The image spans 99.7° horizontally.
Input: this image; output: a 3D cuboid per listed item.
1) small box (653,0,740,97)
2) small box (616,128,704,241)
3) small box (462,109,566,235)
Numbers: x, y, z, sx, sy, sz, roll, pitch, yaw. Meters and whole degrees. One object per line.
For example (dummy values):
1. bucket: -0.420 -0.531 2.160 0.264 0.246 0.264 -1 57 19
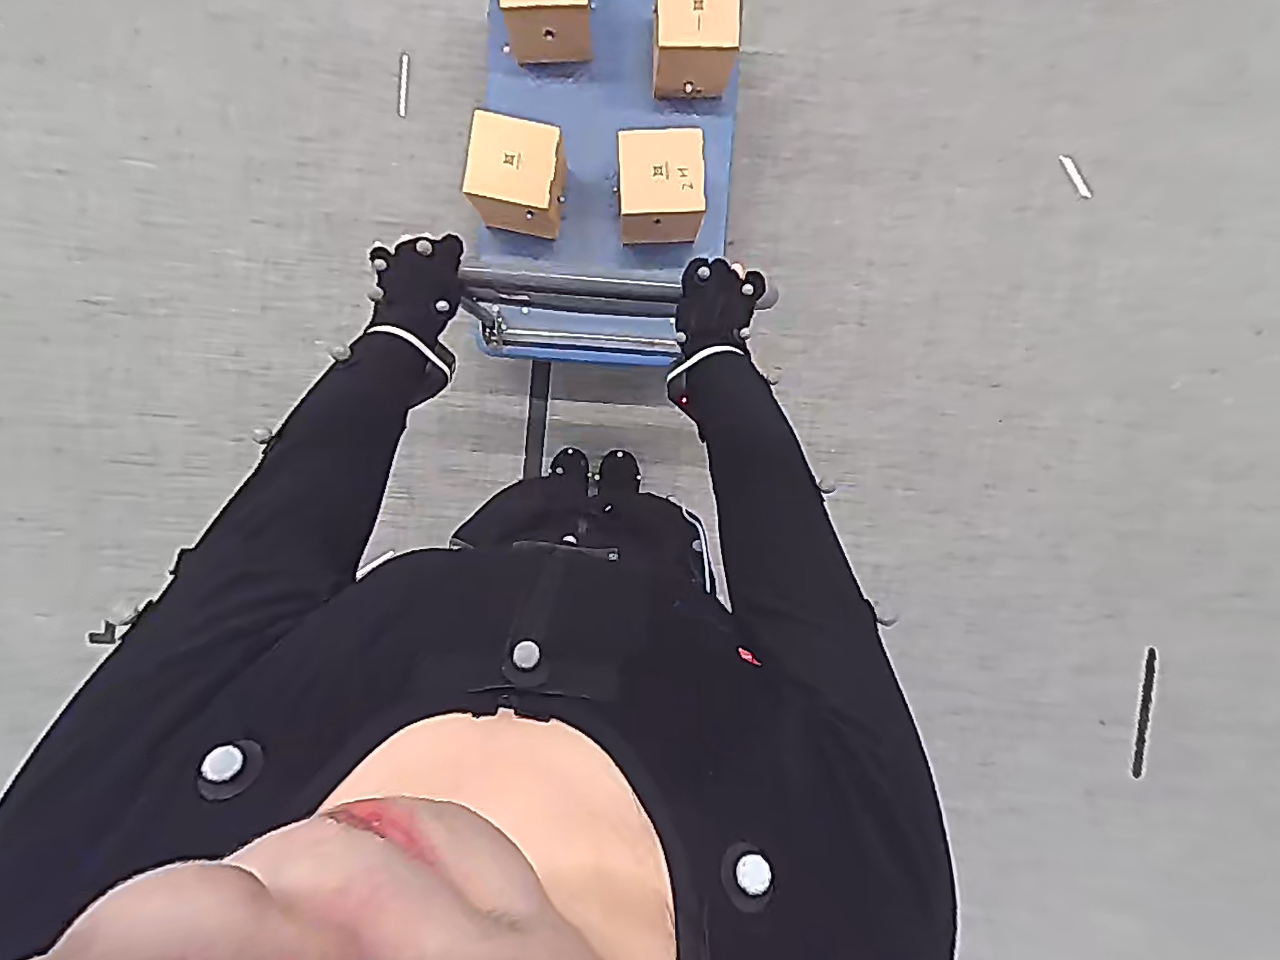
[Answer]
1. small box: 0.113 -0.961 1.151 0.168 0.176 0.179 0 95 -2
2. small box: 0.041 -0.632 1.174 0.179 0.176 0.168 -2 95 -1
3. small box: -0.263 -0.651 1.164 0.179 0.176 0.168 10 94 -4
